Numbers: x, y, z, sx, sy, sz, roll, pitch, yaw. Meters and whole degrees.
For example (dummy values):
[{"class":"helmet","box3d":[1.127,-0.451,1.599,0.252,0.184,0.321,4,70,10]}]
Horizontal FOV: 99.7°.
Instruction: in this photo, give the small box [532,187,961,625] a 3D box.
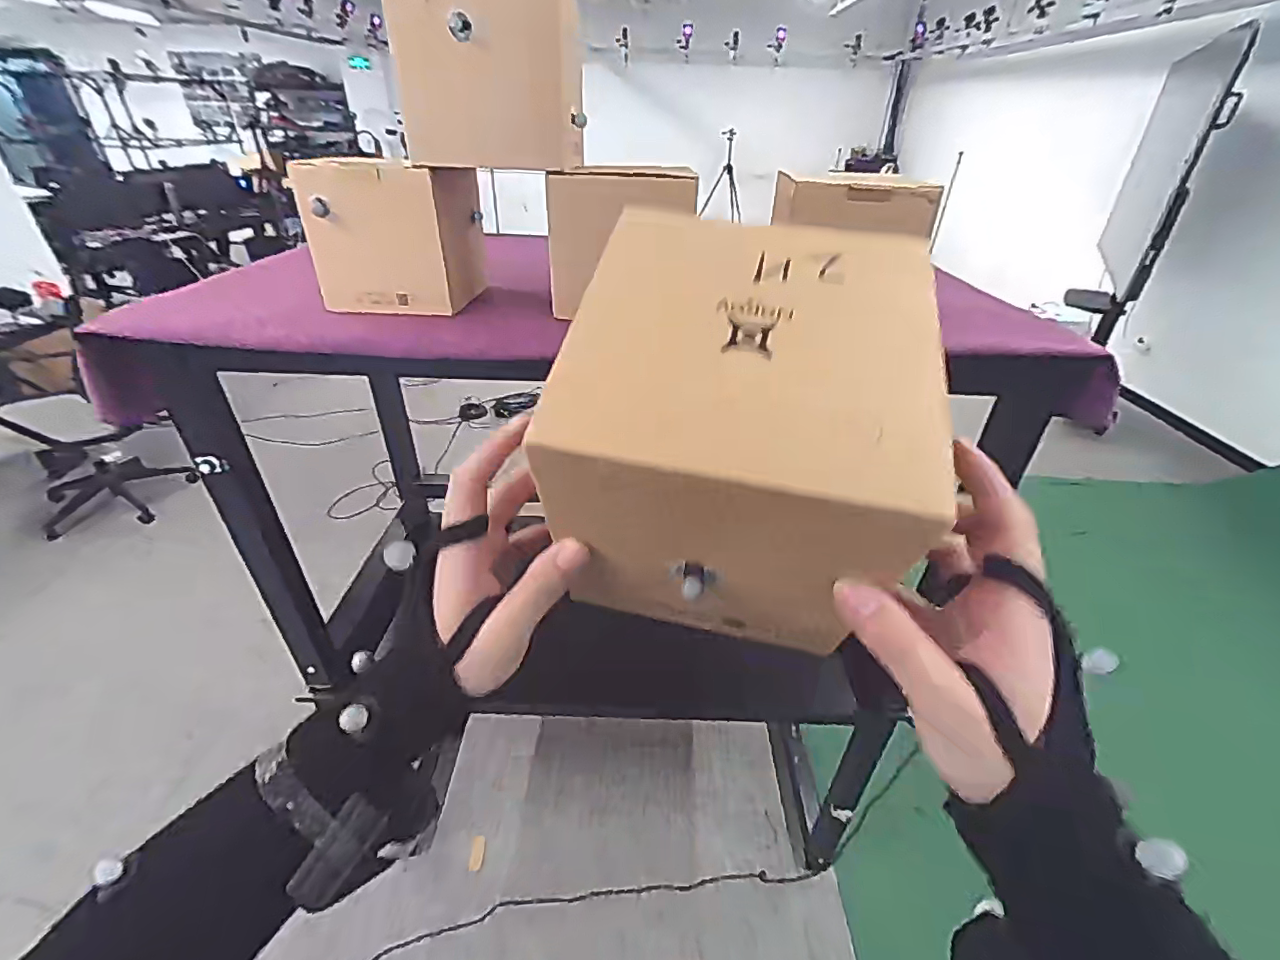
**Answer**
[{"class":"small box","box3d":[0.057,-0.035,0.313,0.168,0.176,0.179,11,57,8]}]

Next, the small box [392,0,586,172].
[{"class":"small box","box3d":[-0.161,-0.457,0.624,0.179,0.176,0.168,4,32,2]}]

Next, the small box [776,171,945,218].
[{"class":"small box","box3d":[0.262,-0.301,0.708,0.168,0.176,0.179,4,33,4]}]
